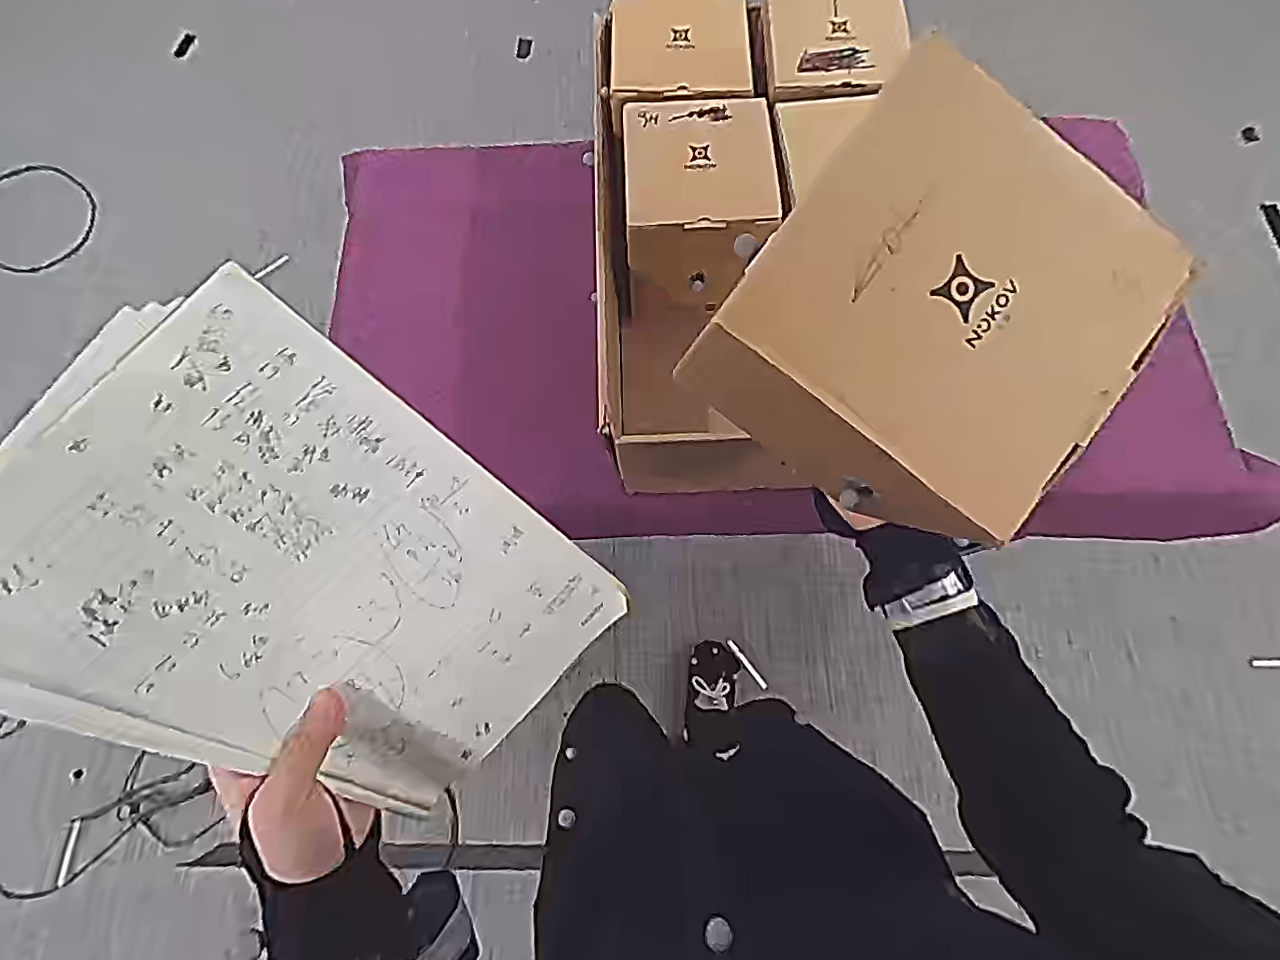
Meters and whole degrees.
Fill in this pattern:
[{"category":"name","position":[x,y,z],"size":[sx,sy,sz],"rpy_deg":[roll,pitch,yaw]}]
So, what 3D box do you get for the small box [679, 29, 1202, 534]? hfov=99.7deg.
[{"category":"small box","position":[0.144,-0.092,0.328],"size":[0.179,0.176,0.168],"rpy_deg":[35,90,-4]}]
